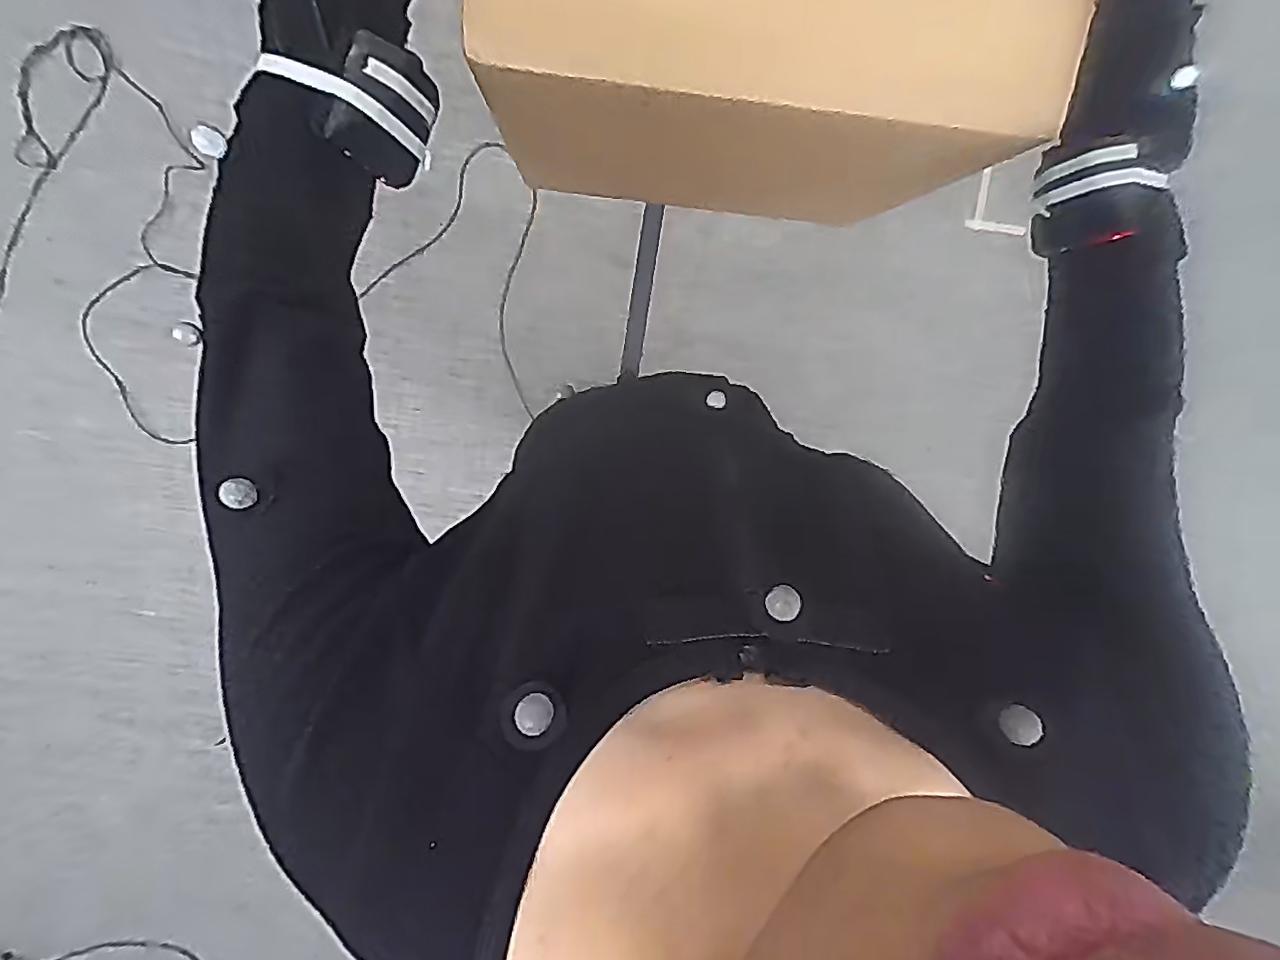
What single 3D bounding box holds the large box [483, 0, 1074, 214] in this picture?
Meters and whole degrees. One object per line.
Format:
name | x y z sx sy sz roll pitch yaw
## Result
large box | 0.090 -0.446 0.474 0.408 0.320 0.320 3 105 -6
